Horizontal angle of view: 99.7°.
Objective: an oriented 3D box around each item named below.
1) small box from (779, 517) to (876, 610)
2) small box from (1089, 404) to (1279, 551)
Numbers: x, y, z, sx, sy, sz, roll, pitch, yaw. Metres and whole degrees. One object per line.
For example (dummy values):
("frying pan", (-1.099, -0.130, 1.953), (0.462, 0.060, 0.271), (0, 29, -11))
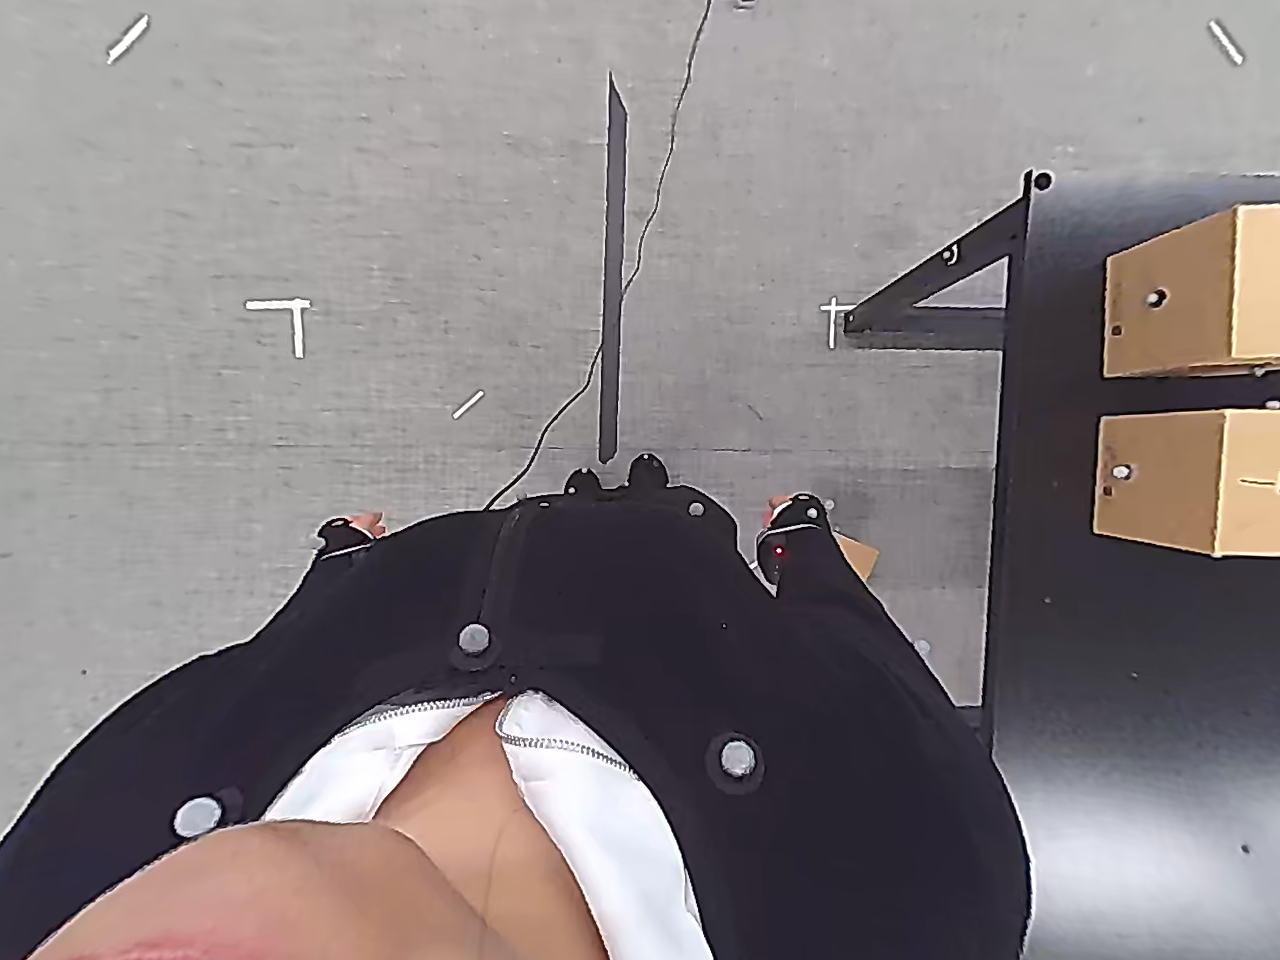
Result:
("small box", (0.485, 0.214, 1.430), (0.168, 0.176, 0.179), (22, 92, -2))
("small box", (0.728, -0.006, 0.685), (0.179, 0.176, 0.168), (1, 93, 1))
